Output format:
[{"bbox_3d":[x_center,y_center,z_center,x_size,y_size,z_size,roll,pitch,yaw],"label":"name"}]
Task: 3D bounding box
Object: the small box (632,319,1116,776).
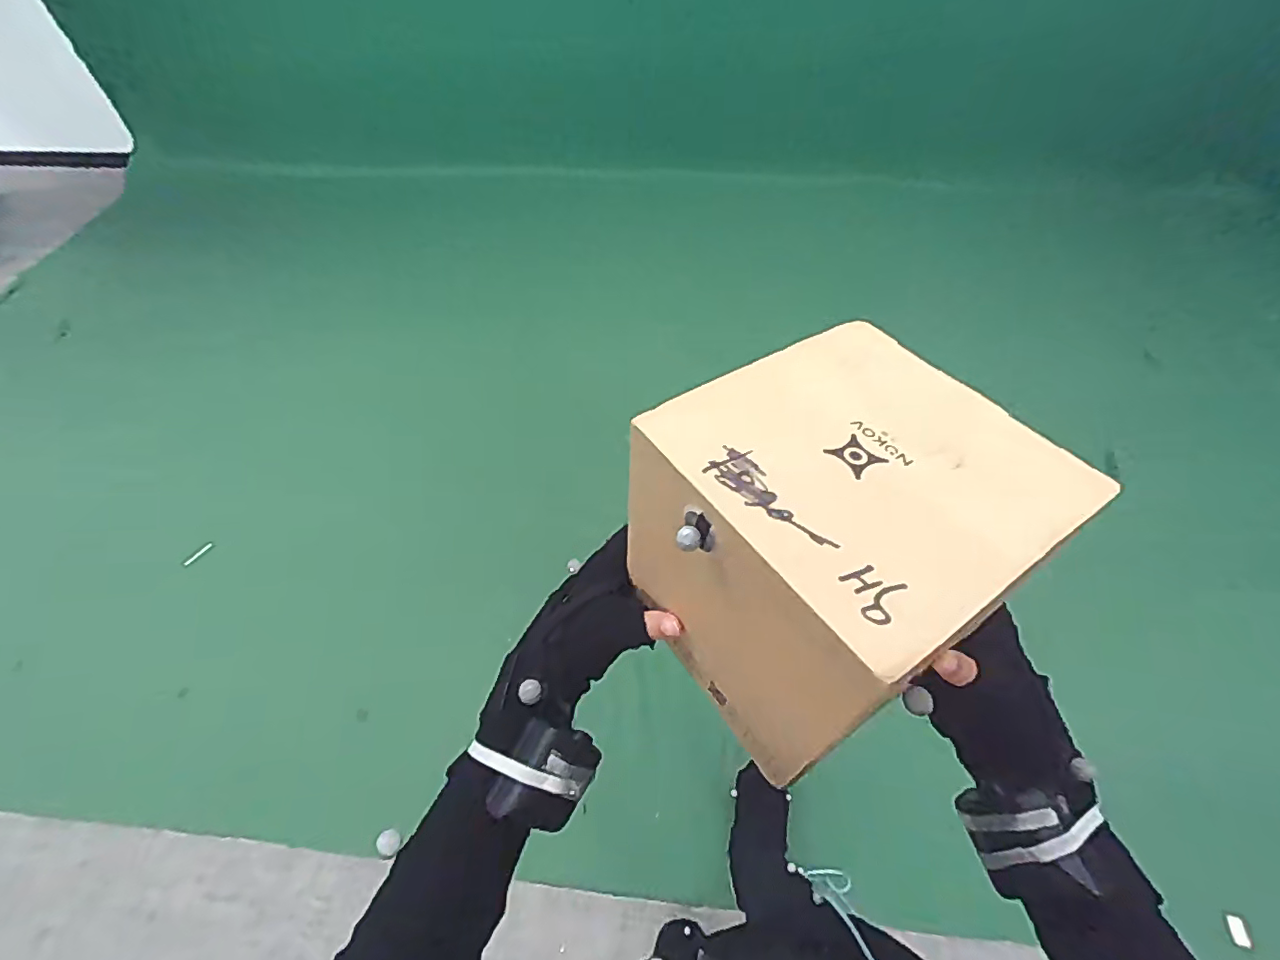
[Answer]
[{"bbox_3d":[0.108,0.037,0.324,0.179,0.176,0.168,-25,54,-23],"label":"small box"}]
